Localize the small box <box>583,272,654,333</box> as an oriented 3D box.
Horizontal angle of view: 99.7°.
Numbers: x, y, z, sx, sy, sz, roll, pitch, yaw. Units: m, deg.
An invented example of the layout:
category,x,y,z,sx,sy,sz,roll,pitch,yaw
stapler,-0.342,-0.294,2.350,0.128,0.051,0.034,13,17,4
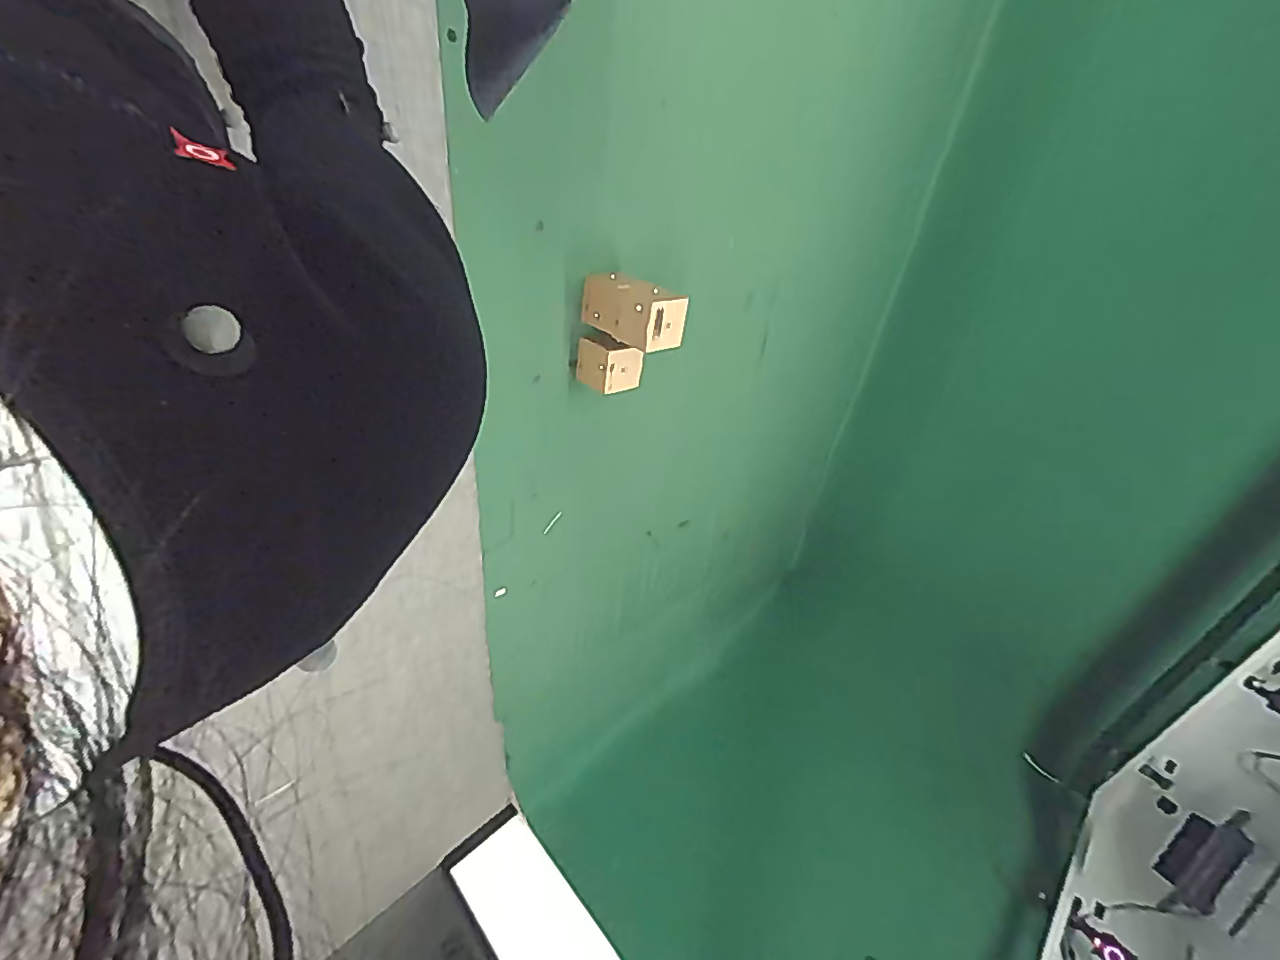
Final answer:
category,x,y,z,sx,sy,sz,roll,pitch,yaw
small box,-0.081,-0.624,1.896,0.179,0.176,0.168,-20,132,-41
